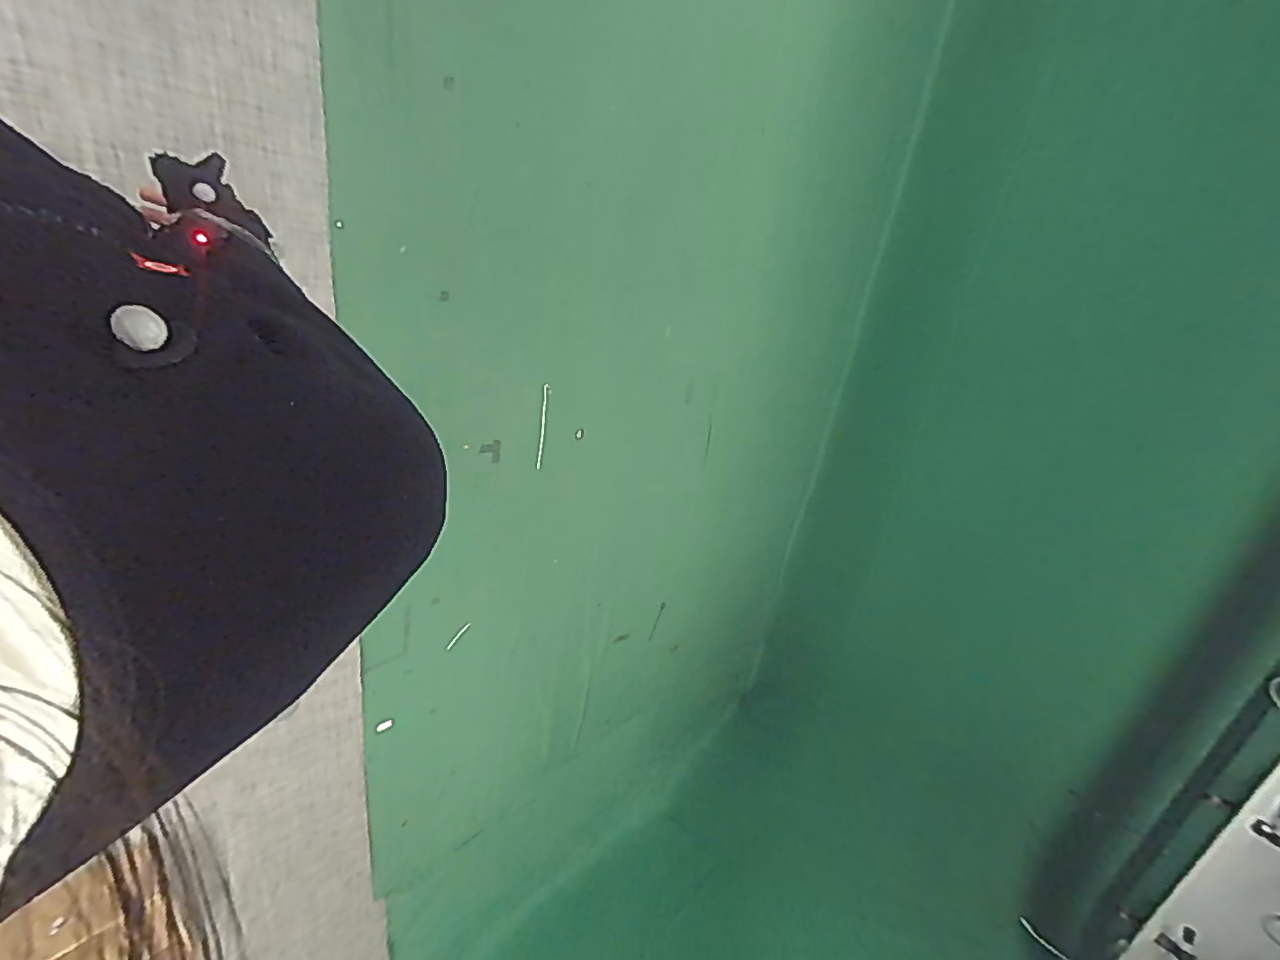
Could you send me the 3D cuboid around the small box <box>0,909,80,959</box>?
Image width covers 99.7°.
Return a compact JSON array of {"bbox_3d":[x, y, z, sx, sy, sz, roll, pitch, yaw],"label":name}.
[{"bbox_3d":[-1.443,1.172,1.259,0.179,0.176,0.168,-19,127,-45],"label":"small box"}]
